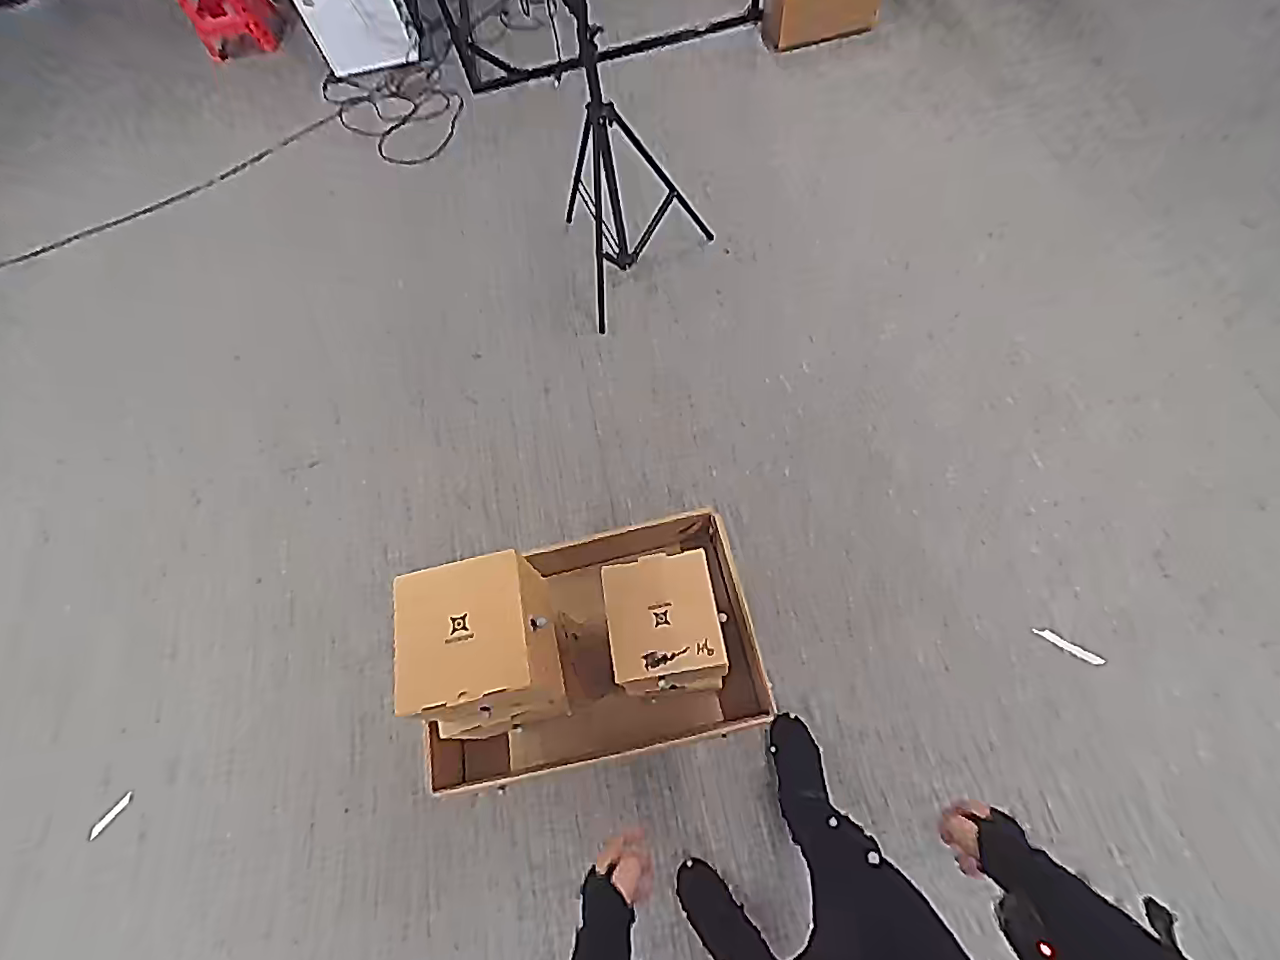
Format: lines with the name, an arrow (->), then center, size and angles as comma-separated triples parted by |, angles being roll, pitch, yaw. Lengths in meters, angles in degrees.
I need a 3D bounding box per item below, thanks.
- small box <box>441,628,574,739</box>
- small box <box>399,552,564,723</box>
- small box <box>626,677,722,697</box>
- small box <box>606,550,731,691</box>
small box -> -0.217, 0.308, 0.879 | 0.168, 0.176, 0.179 | -17, 65, -2
small box -> -0.210, 0.221, 0.739 | 0.168, 0.176, 0.179 | -14, 65, -1
small box -> 0.062, 0.309, 1.020 | 0.168, 0.176, 0.179 | -9, 65, 4
small box -> 0.046, 0.232, 0.875 | 0.168, 0.176, 0.179 | -11, 64, 4
